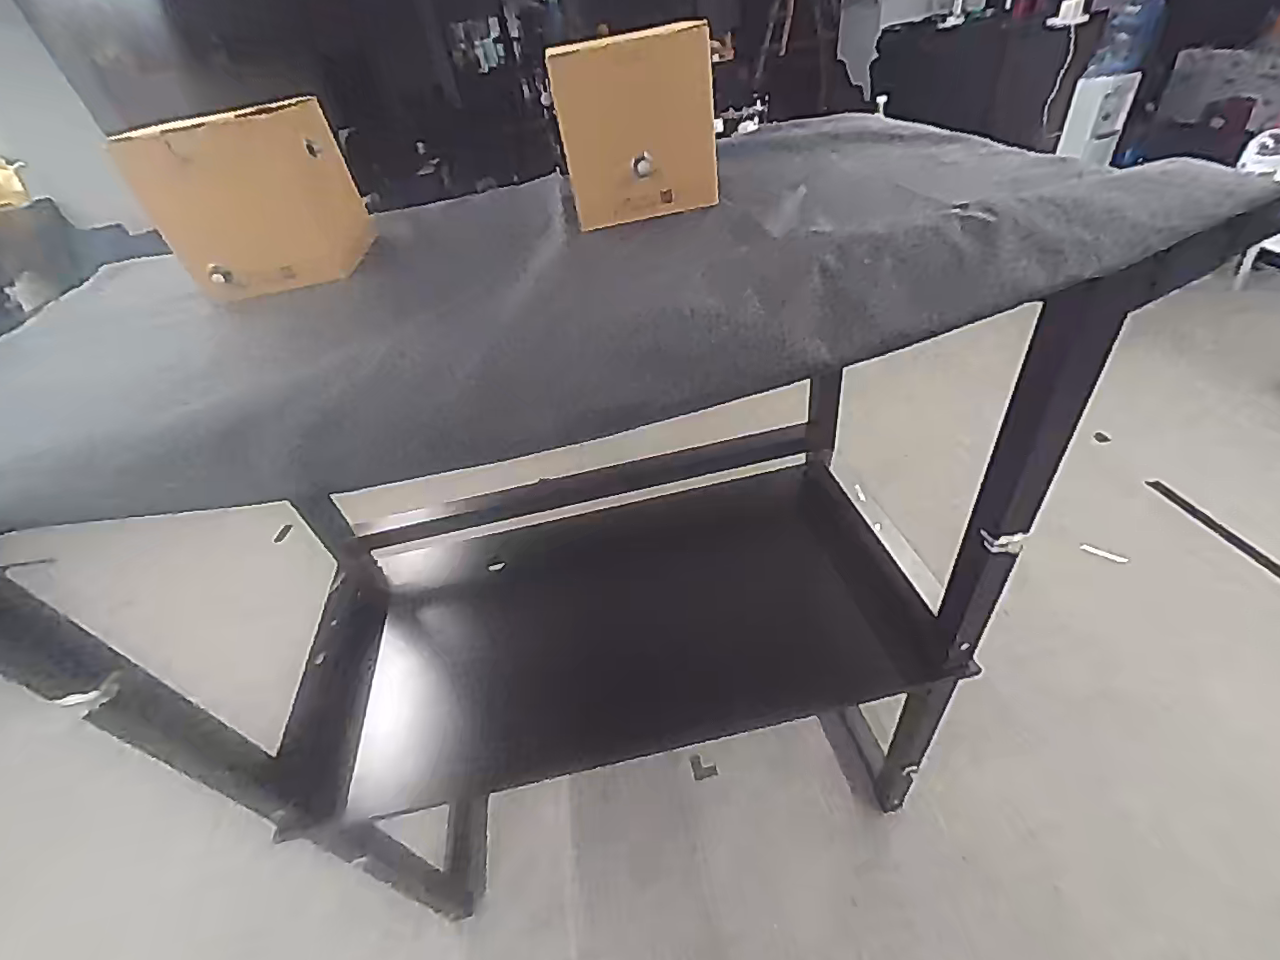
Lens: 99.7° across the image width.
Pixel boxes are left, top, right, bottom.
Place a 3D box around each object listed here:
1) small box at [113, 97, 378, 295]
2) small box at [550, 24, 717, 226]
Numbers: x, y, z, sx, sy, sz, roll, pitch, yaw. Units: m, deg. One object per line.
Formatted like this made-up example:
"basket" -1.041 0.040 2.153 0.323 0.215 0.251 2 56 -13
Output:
"small box" -0.443 -0.336 0.649 0.168 0.176 0.179 -12 40 -2
"small box" -0.007 -0.424 0.650 0.168 0.176 0.179 -11 40 0
